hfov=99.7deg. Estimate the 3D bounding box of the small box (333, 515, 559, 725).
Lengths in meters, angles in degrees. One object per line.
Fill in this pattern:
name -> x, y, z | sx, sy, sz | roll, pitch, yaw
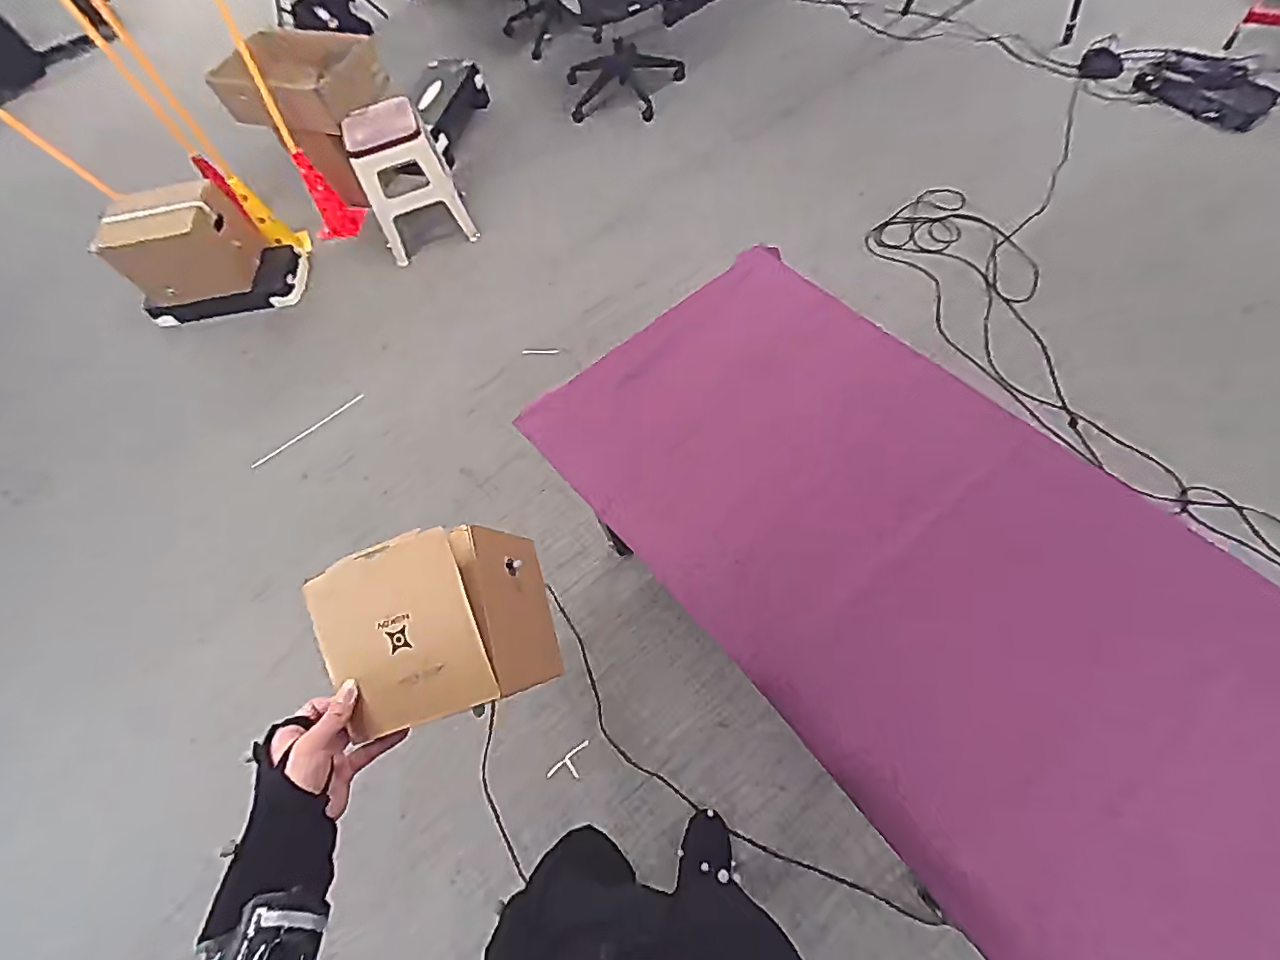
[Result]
small box -> -0.211, 0.155, 0.617 | 0.168, 0.176, 0.179 | -18, 75, 10
